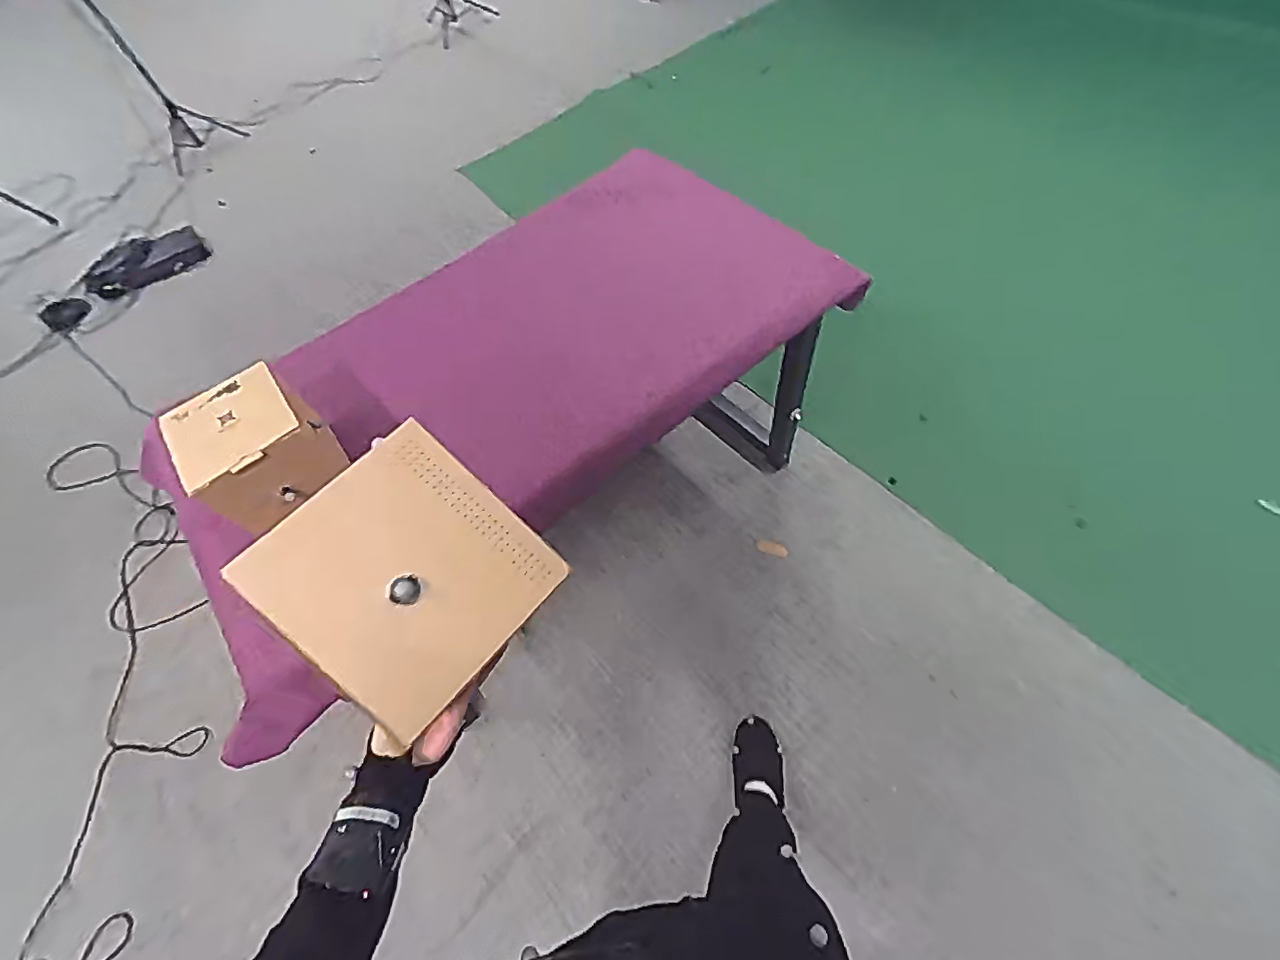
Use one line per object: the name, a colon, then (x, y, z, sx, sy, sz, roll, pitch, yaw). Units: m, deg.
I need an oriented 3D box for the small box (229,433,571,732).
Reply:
small box: (-0.190, 0.080, 0.471, 0.179, 0.168, 0.176, 43, 67, -2)

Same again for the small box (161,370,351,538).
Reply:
small box: (-0.581, -0.030, 0.845, 0.168, 0.176, 0.179, -36, 62, -15)
